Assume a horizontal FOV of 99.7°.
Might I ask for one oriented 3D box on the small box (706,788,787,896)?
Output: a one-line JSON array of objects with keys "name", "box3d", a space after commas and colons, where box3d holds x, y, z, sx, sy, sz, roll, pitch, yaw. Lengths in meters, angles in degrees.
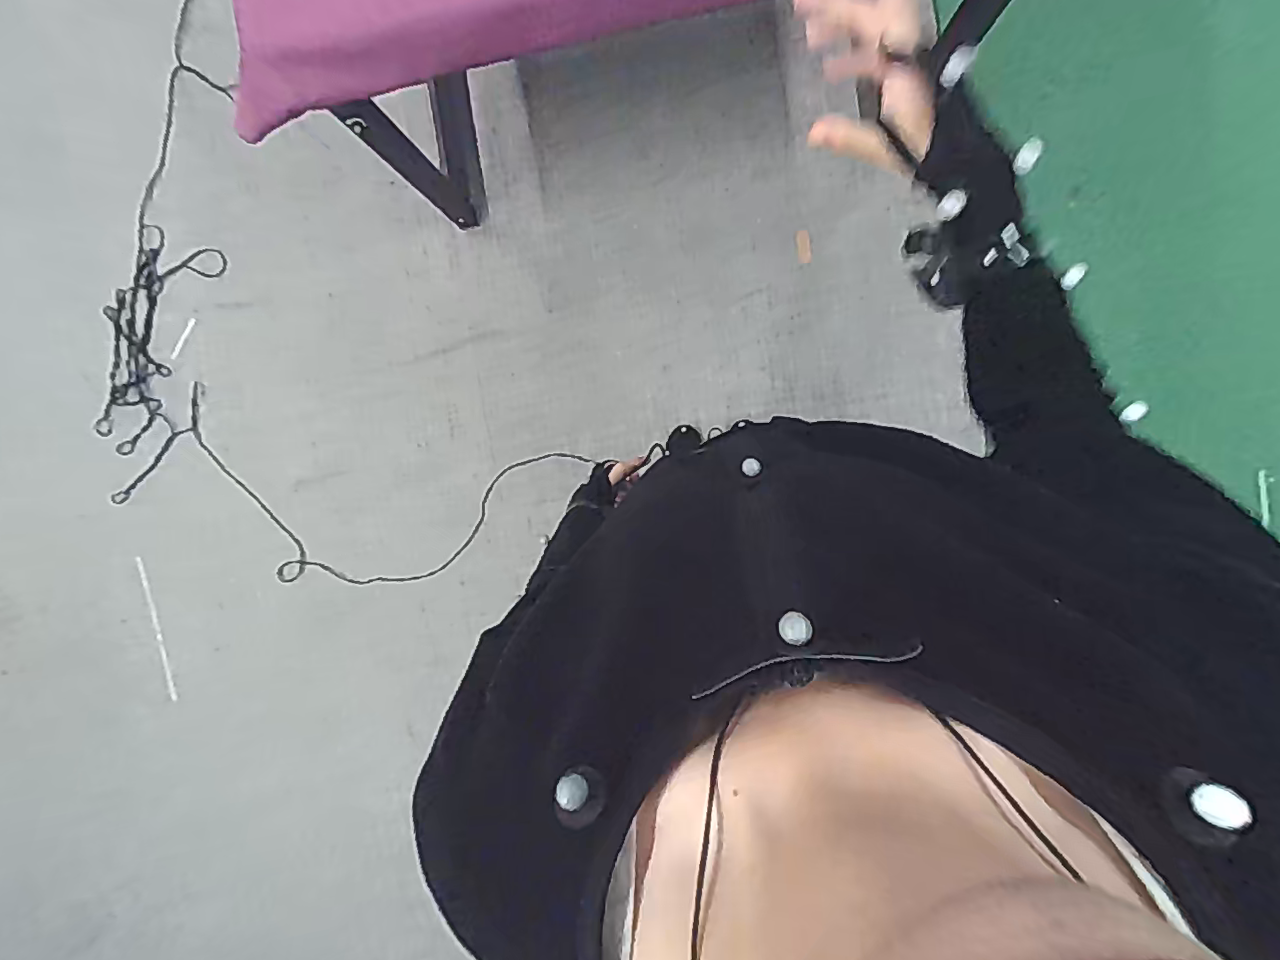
[{"name": "small box", "box3d": [0.276, 0.954, 1.441, 0.179, 0.176, 0.168, -14, 92, 8]}]
